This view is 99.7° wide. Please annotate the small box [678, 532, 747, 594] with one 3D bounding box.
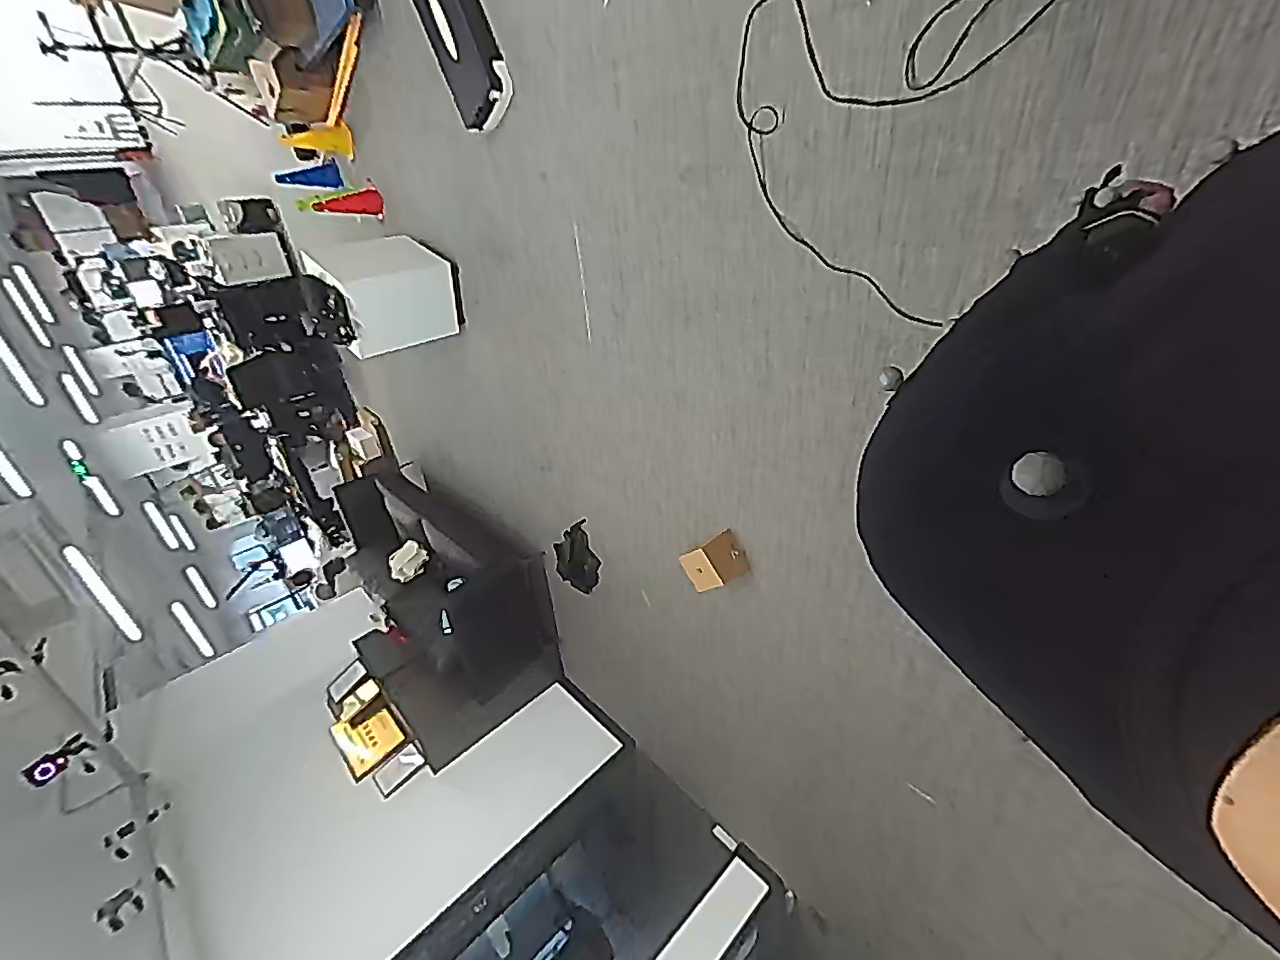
[{"bbox_3d":[0.291,0.329,2.143,0.168,0.176,0.179,58,145,3],"label":"small box"}]
